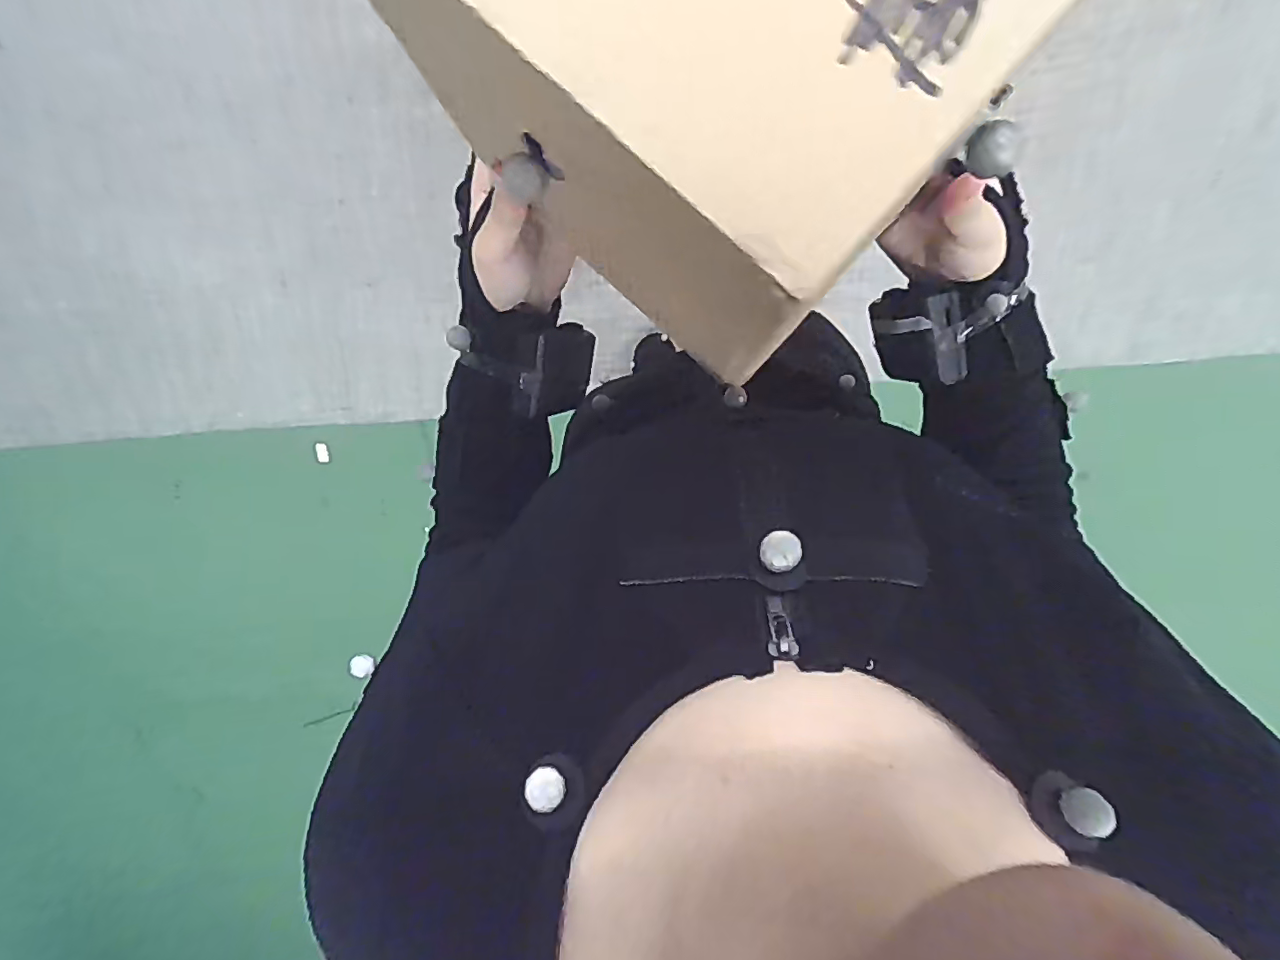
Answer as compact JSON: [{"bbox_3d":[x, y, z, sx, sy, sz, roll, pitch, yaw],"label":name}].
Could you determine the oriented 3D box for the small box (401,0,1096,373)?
[{"bbox_3d":[0.037,-0.161,0.203,0.179,0.176,0.168,42,96,3],"label":"small box"}]
